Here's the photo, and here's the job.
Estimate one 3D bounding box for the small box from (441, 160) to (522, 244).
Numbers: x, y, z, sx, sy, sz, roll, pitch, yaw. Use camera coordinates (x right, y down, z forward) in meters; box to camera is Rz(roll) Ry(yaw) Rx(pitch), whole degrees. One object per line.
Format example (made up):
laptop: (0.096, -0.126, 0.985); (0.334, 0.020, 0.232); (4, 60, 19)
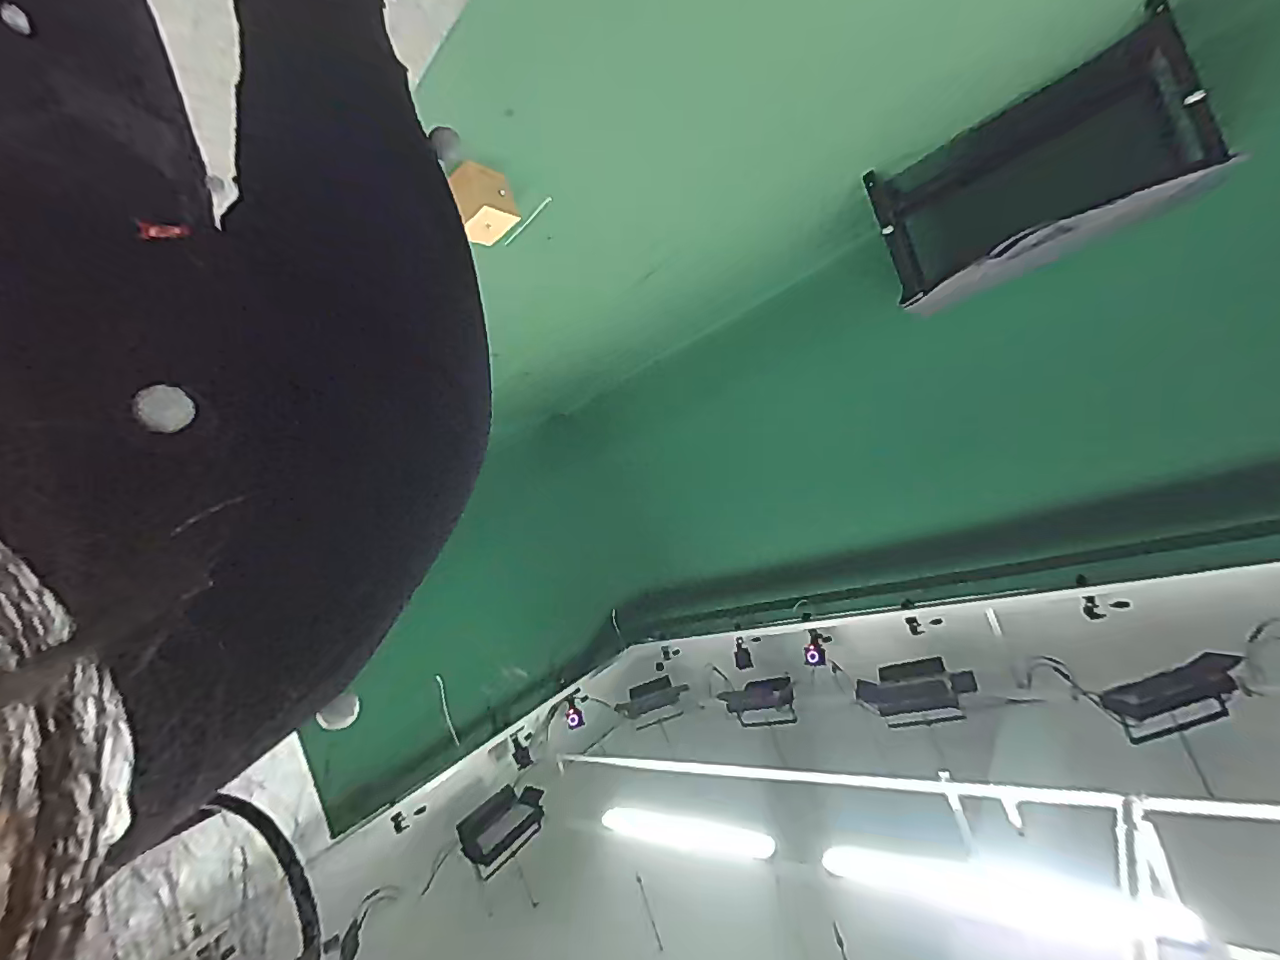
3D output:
small box: (-0.533, -0.925, 1.803); (0.179, 0.176, 0.168); (-21, 178, 34)
